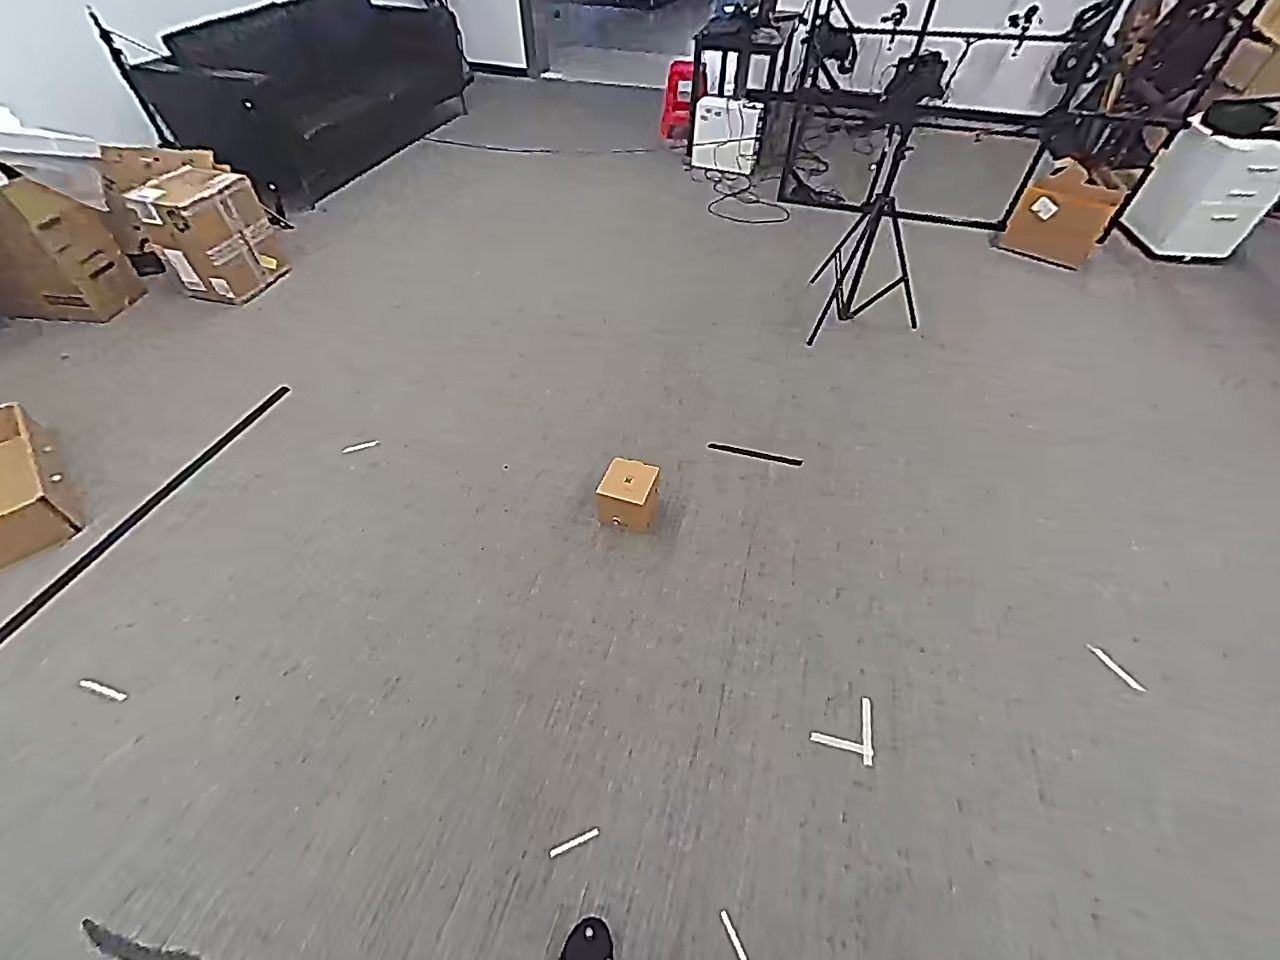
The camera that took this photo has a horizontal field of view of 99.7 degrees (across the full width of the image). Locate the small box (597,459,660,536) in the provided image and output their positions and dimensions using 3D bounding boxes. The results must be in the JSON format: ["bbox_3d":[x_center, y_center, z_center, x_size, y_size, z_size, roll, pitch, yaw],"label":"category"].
[{"bbox_3d":[-0.036,0.061,1.854,0.168,0.176,0.179,14,51,13],"label":"small box"}]
